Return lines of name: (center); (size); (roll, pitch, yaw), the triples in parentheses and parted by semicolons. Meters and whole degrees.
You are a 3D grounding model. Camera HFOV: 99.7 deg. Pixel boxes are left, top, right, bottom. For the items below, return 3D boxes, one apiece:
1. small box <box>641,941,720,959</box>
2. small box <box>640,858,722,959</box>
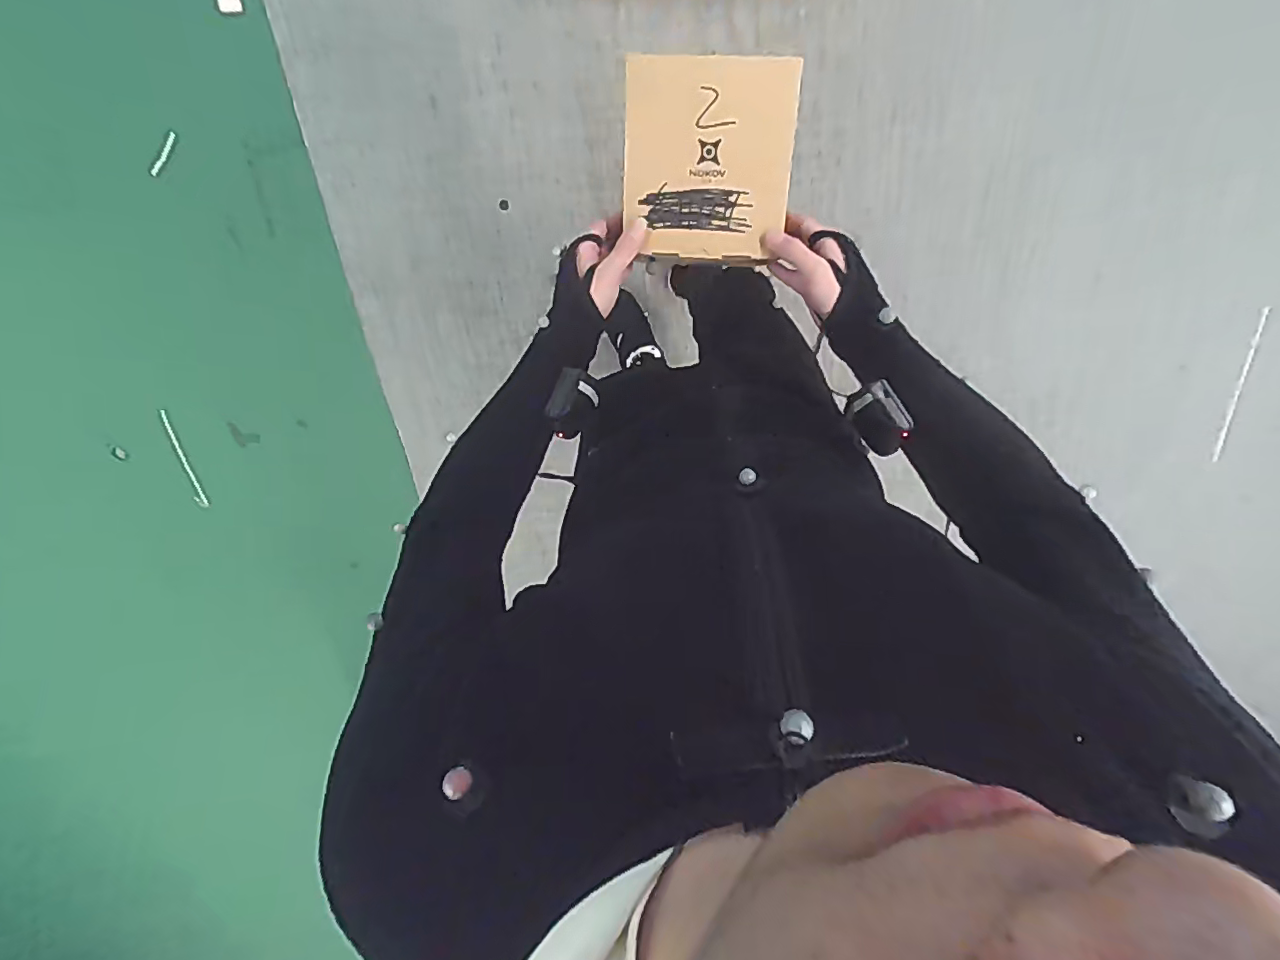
small box: (0.099, 1.093, 1.108); (0.168, 0.176, 0.179); (-12, 115, 2)
small box: (0.094, 1.024, 1.257); (0.168, 0.176, 0.179); (-11, 114, 2)
